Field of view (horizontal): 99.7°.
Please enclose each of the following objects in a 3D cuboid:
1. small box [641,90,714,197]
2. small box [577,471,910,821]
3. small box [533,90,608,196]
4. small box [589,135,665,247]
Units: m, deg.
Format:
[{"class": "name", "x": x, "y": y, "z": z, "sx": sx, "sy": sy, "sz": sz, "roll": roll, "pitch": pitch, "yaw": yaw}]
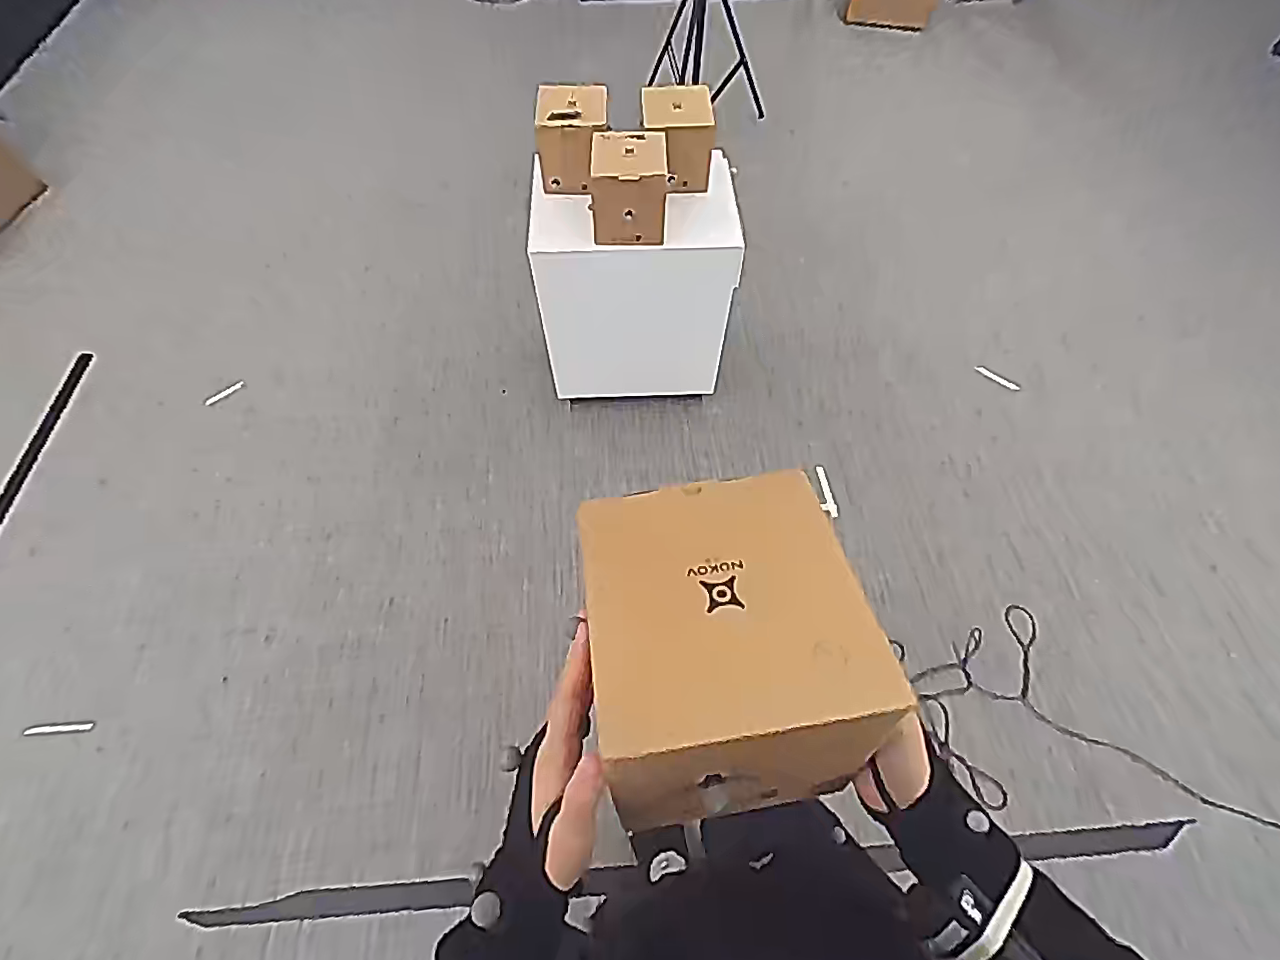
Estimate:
[{"class": "small box", "x": 0.087, "y": -0.835, "z": 1.347, "sx": 0.168, "sy": 0.176, "sz": 0.179, "roll": -3, "pitch": 63, "yaw": 0}, {"class": "small box", "x": 0.052, "y": 0.122, "z": 0.385, "sx": 0.168, "sy": 0.176, "sz": 0.179, "roll": -8, "pitch": 46, "yaw": -4}, {"class": "small box", "x": -0.163, "y": -0.831, "z": 1.340, "sx": 0.168, "sy": 0.176, "sz": 0.179, "roll": -1, "pitch": 60, "yaw": -1}, {"class": "small box", "x": -0.026, "y": -0.662, "z": 1.248, "sx": 0.168, "sy": 0.176, "sz": 0.179, "roll": 0, "pitch": 61, "yaw": -1}]
